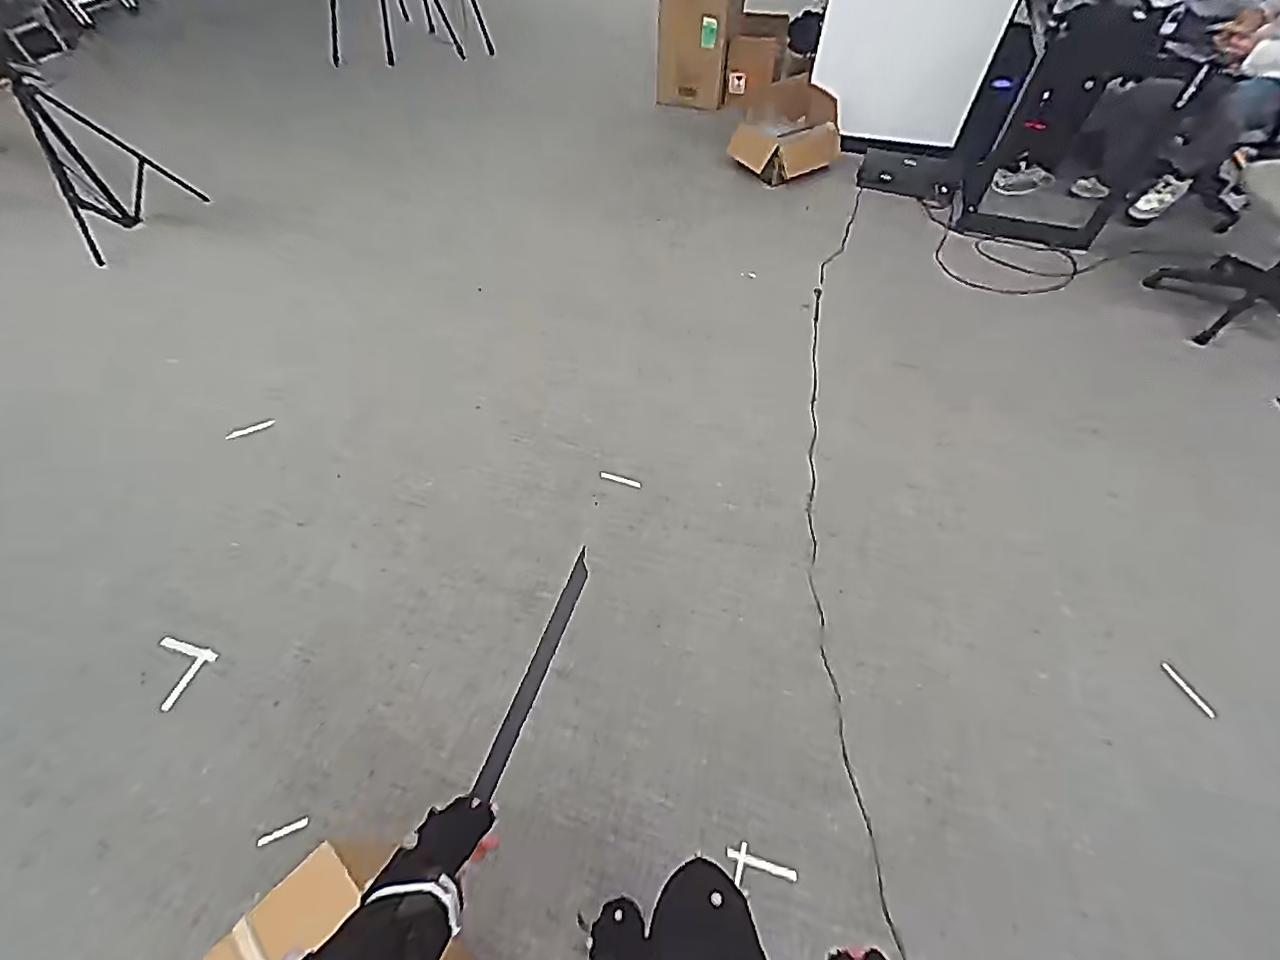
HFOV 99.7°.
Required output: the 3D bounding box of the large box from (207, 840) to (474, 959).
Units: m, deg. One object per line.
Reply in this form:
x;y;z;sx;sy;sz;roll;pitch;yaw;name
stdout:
-0.511;0.929;0.955;0.408;0.320;0.320;37;63;22;large box
